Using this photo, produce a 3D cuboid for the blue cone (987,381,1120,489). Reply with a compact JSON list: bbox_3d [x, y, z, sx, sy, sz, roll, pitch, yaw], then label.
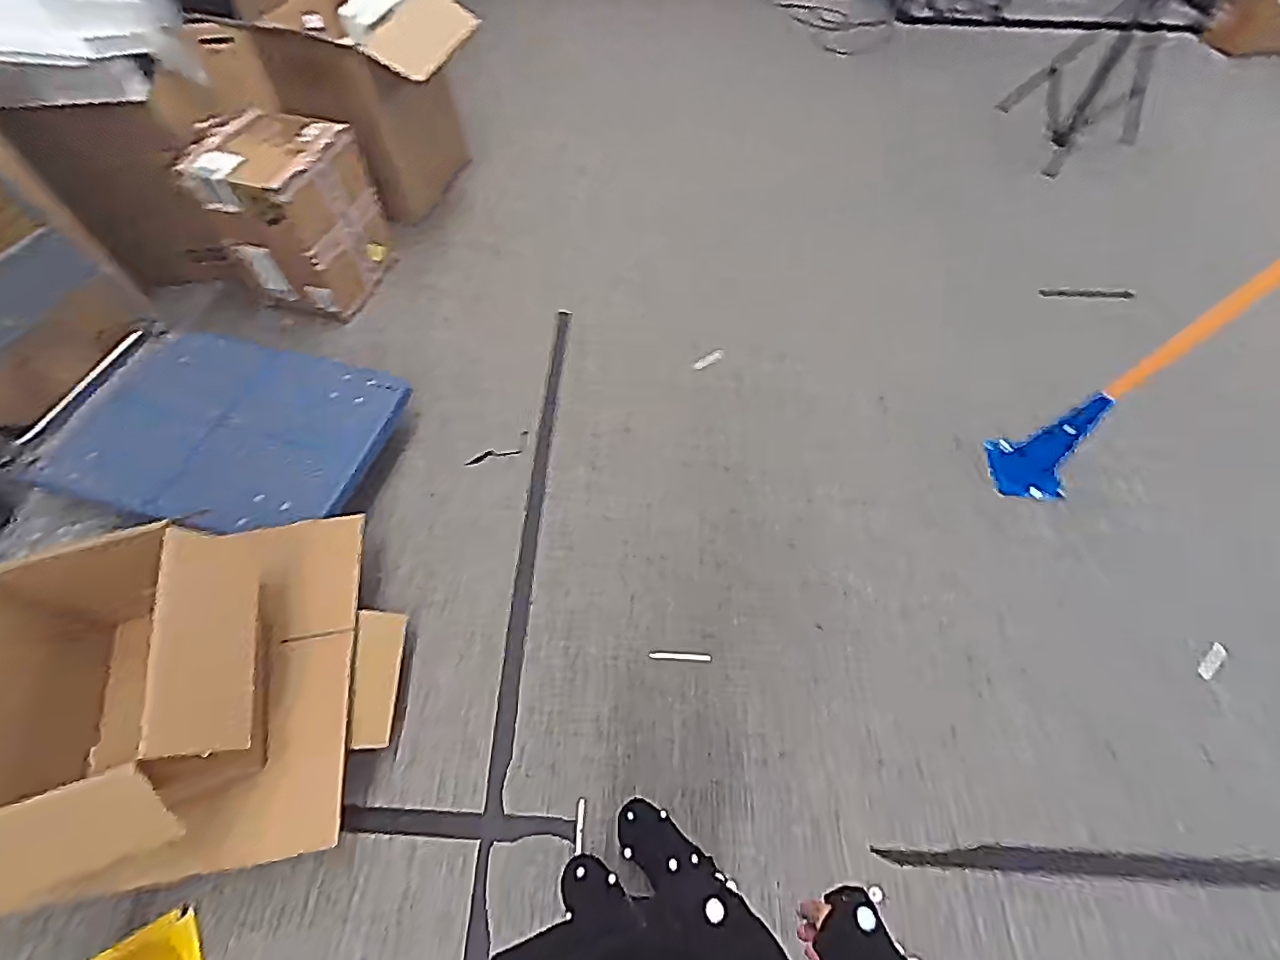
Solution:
[{"bbox_3d":[1.179,-0.142,1.523,0.192,0.380,0.193,5,60,2],"label":"blue cone"}]
